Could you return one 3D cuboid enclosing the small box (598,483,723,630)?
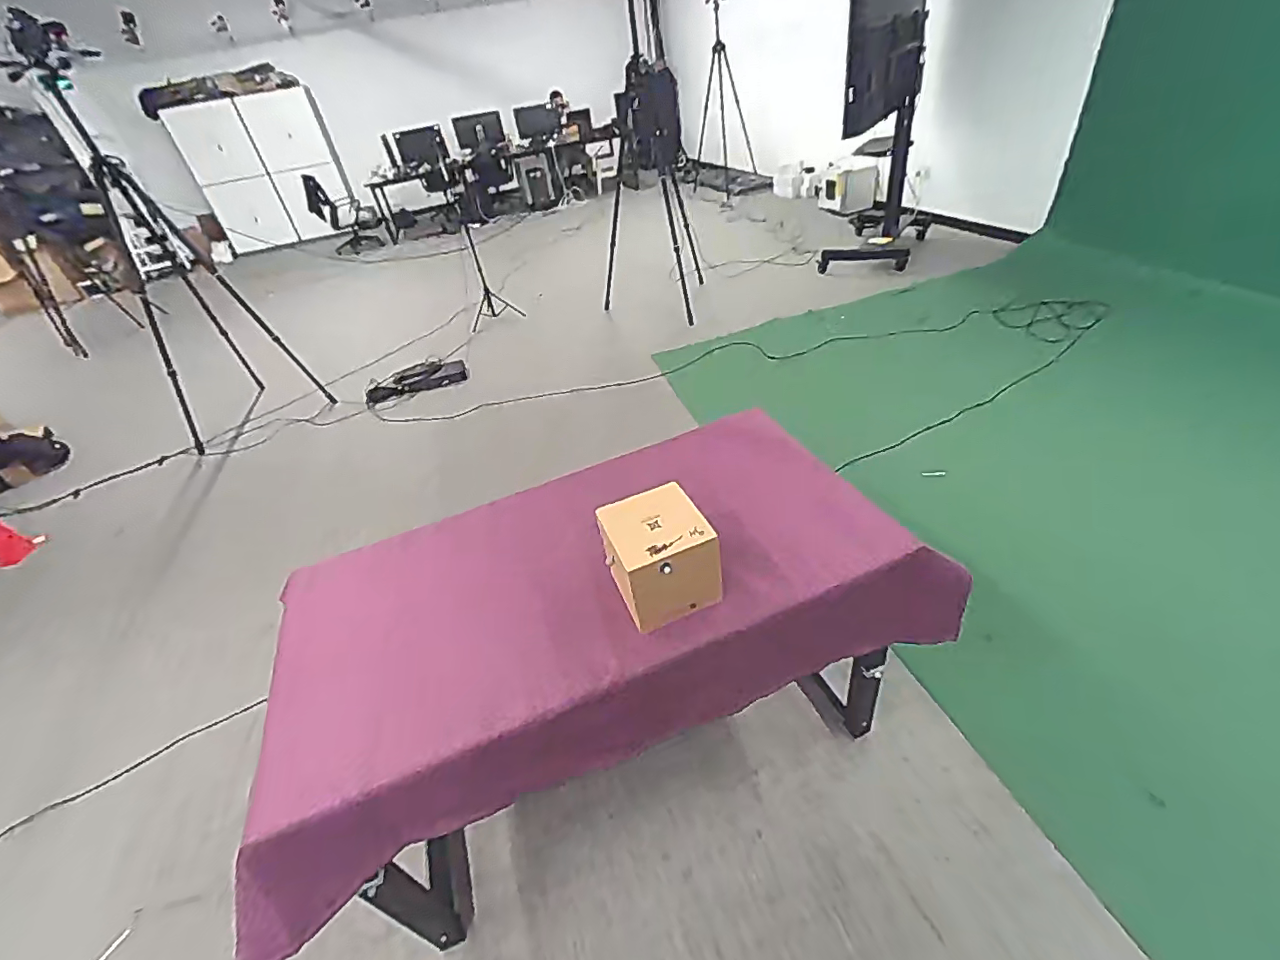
[{"bbox_3d":[0.038,0.139,0.990,0.168,0.176,0.179,-21,38,-11],"label":"small box"}]
